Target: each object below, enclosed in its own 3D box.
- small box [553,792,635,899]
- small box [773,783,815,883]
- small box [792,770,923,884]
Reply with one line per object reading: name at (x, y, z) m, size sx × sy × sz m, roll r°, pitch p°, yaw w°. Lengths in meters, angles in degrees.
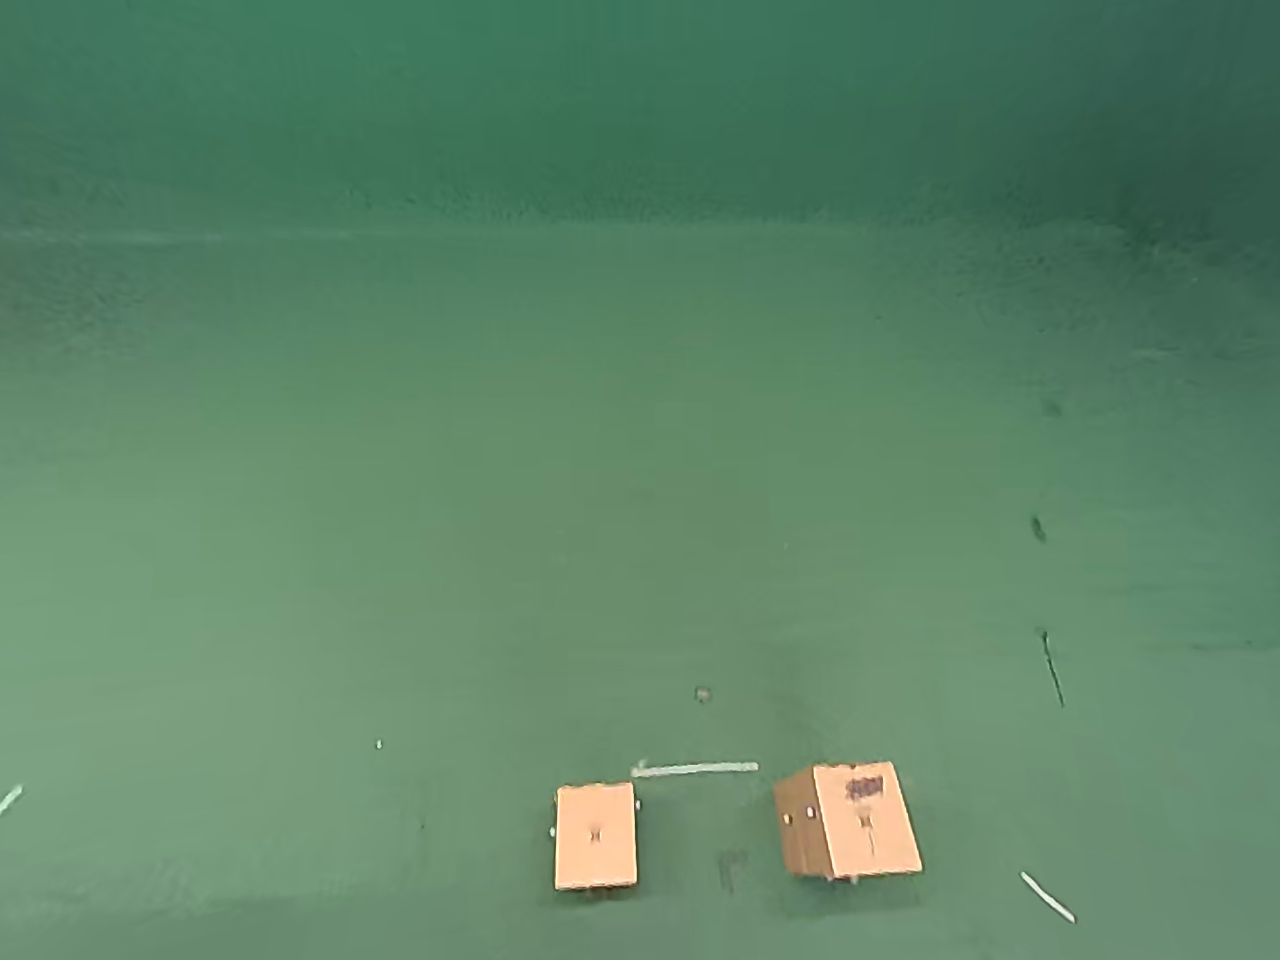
small box at (-0.096, 0.792, 1.174) m, size 0.168 × 0.176 × 0.179 m, roll -2°, pitch 53°, yaw -4°
small box at (0.406, 0.784, 1.203) m, size 0.168 × 0.176 × 0.179 m, roll 0°, pitch 54°, yaw -3°
small box at (0.415, 0.687, 1.070) m, size 0.168 × 0.176 × 0.179 m, roll -1°, pitch 54°, yaw -4°
